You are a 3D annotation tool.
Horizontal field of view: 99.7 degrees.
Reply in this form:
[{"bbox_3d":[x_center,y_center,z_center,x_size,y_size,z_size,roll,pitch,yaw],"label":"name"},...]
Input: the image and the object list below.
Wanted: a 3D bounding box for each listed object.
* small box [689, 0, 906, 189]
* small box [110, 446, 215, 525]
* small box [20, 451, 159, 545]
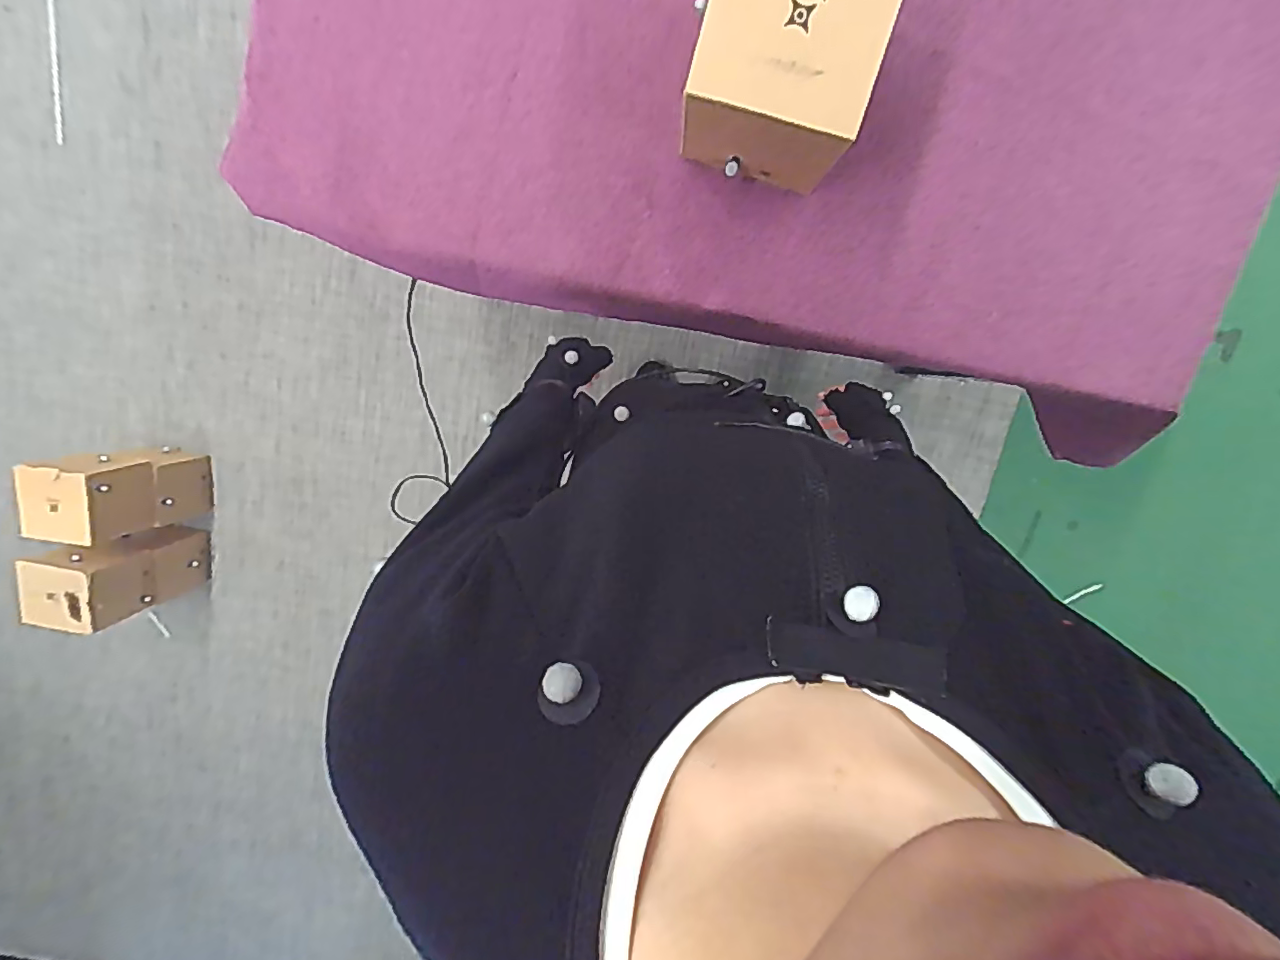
[{"bbox_3d":[0.149,-0.431,0.550,0.168,0.176,0.179,16,104,0],"label":"small box"},{"bbox_3d":[-1.303,0.008,1.466,0.179,0.176,0.168,9,104,1],"label":"small box"},{"bbox_3d":[-1.315,0.039,1.306,0.168,0.176,0.179,8,103,1],"label":"small box"}]
